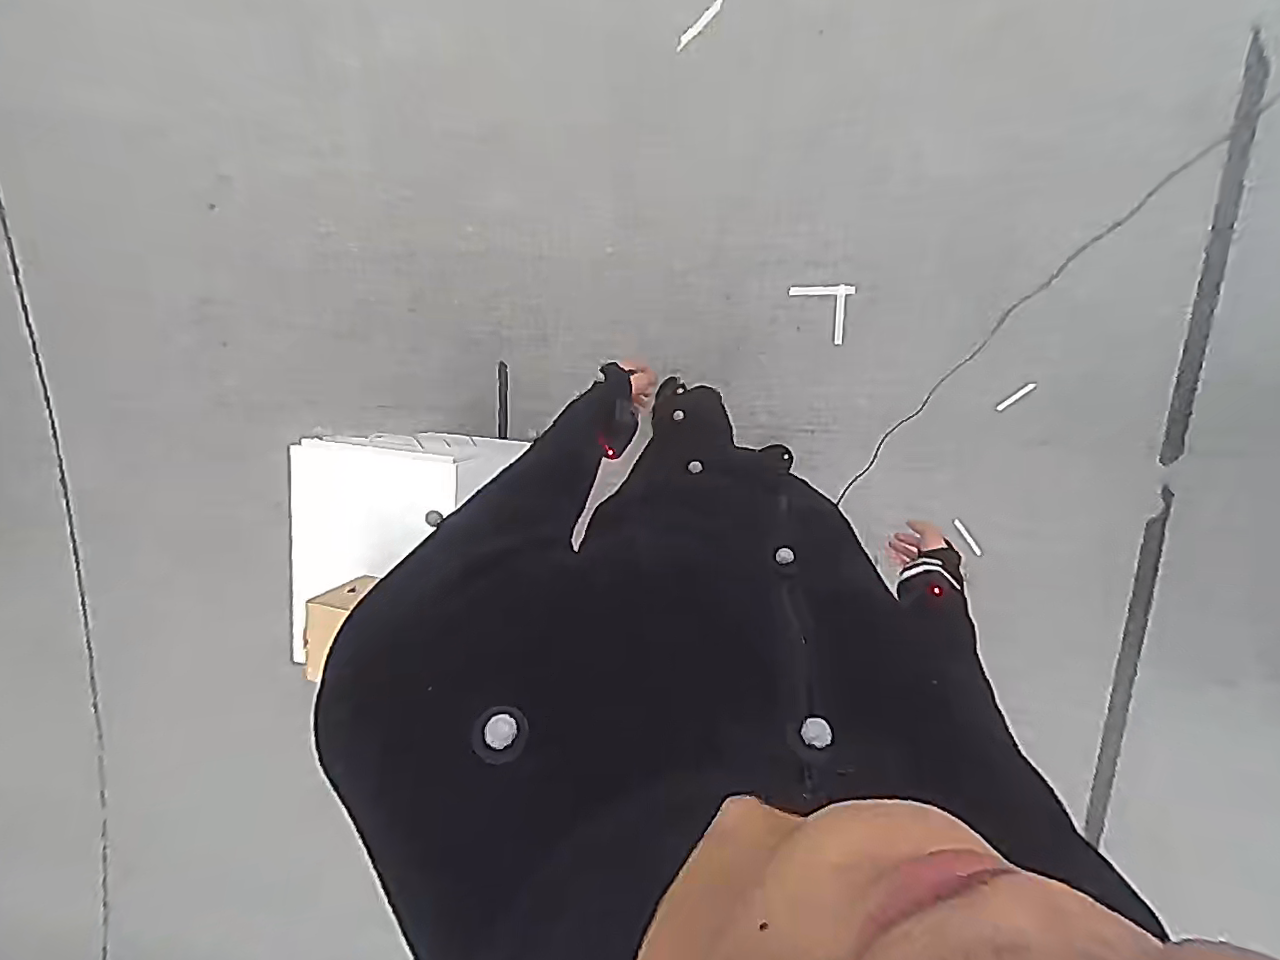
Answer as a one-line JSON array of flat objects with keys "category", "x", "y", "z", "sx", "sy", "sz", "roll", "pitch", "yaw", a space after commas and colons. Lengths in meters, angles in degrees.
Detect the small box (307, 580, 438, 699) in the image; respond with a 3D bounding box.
[{"category": "small box", "x": -0.542, "y": 0.315, "z": 1.106, "sx": 0.179, "sy": 0.176, "sz": 0.168, "roll": 7, "pitch": 99, "yaw": 10}]
